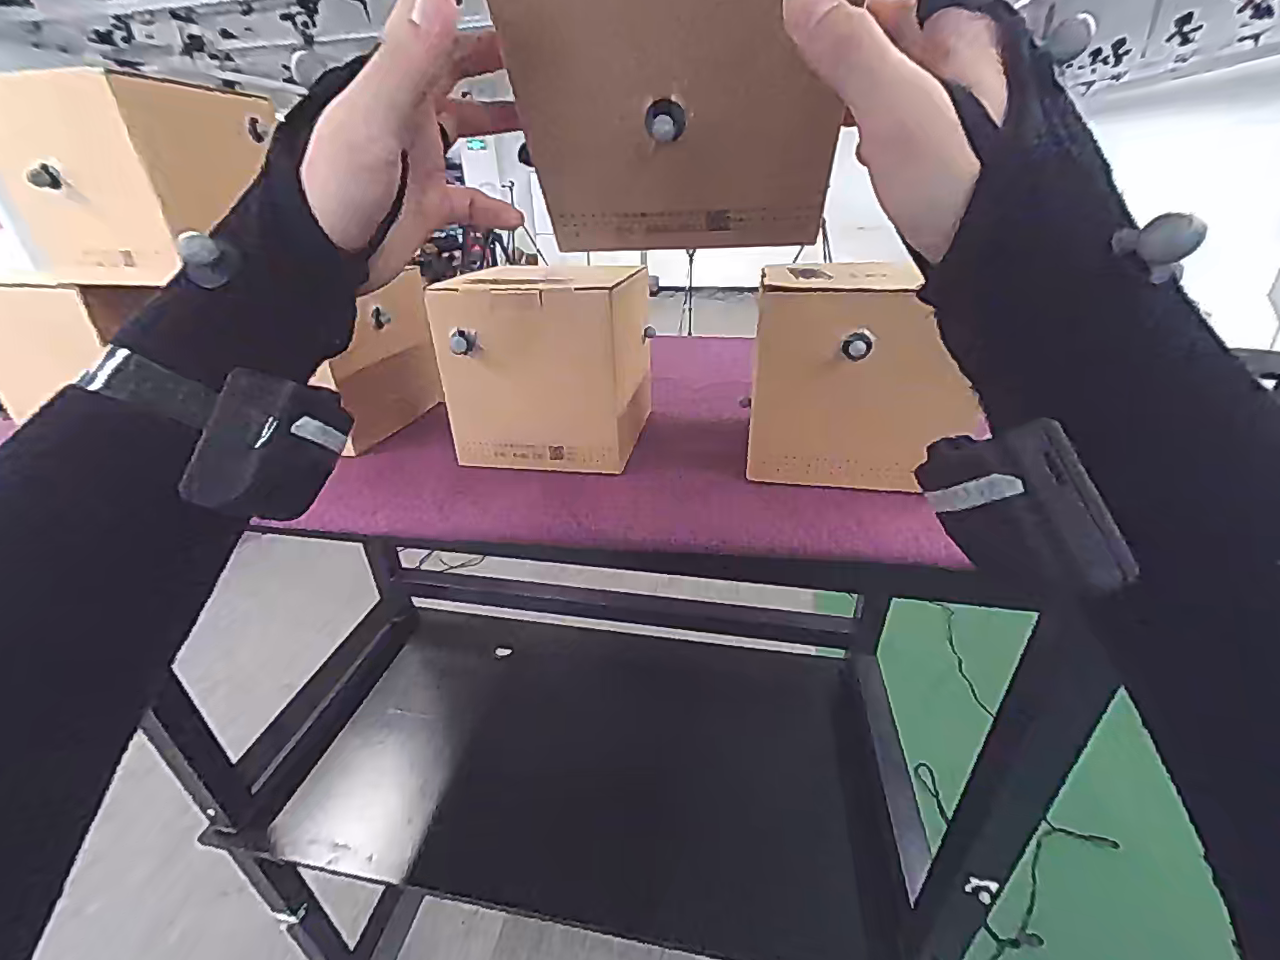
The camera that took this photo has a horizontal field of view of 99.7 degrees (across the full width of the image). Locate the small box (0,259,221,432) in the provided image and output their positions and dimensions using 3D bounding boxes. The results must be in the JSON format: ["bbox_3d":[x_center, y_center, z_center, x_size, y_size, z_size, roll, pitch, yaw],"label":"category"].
[{"bbox_3d":[-0.616,-0.165,0.642,0.179,0.176,0.168,4,28,8],"label":"small box"}]

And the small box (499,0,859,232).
[{"bbox_3d":[0.031,-0.267,0.314,0.168,0.176,0.179,2,61,9],"label":"small box"}]

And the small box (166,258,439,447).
[{"bbox_3d":[-0.347,-0.146,0.599,0.168,0.176,0.179,6,28,12],"label":"small box"}]

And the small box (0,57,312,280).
[{"bbox_3d":[-0.476,-0.301,0.549,0.168,0.176,0.179,4,28,10],"label":"small box"}]

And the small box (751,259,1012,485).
[{"bbox_3d":[0.197,-0.106,0.501,0.179,0.176,0.168,5,28,10],"label":"small box"}]
